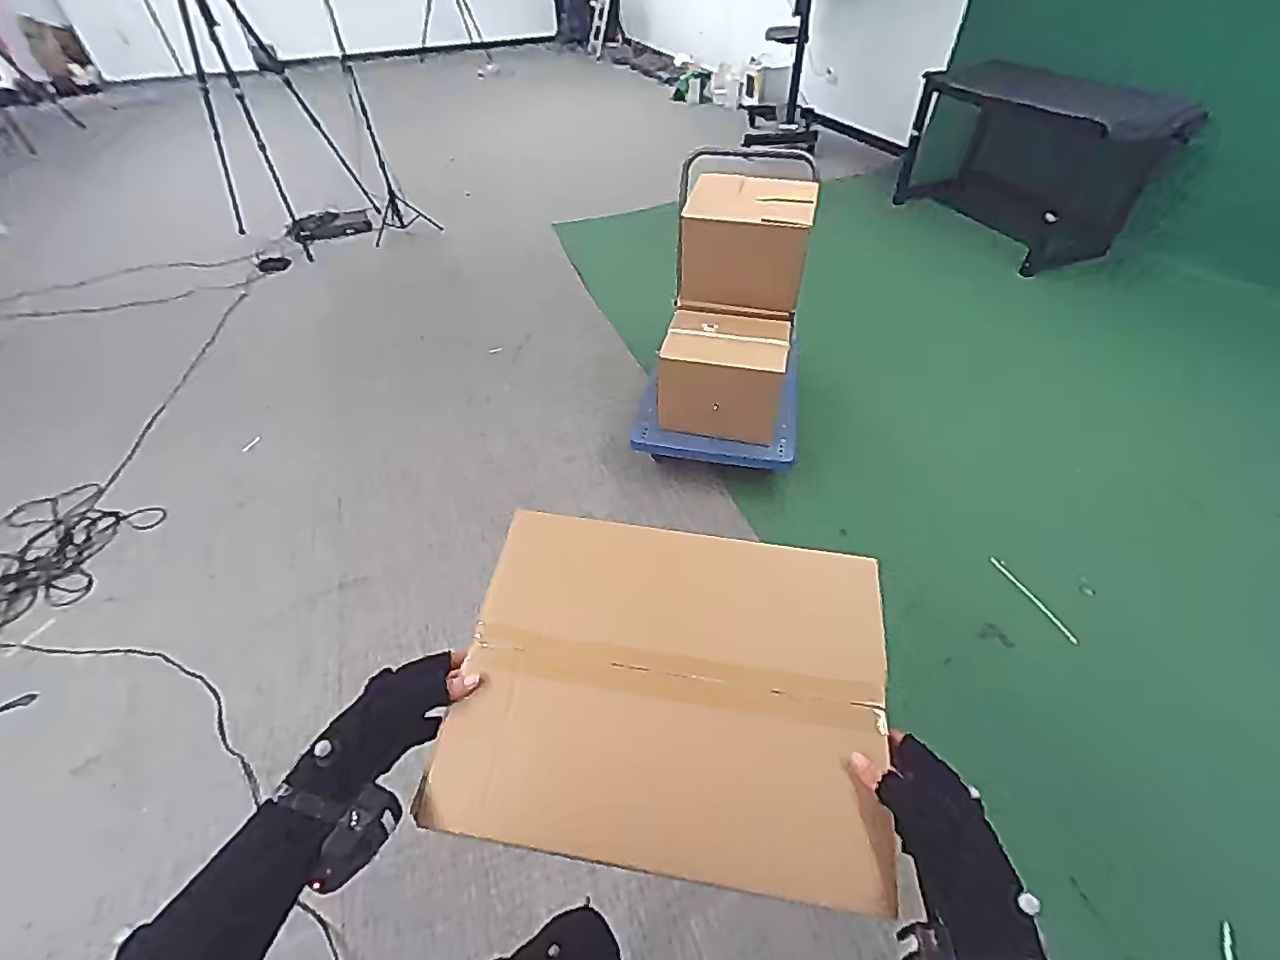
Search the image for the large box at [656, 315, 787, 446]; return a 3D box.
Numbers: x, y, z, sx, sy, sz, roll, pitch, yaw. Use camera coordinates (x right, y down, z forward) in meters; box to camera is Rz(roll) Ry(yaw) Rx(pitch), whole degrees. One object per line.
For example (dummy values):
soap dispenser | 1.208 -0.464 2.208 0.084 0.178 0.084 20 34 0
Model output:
large box | 0.285 -0.349 1.896 0.408 0.320 0.320 9 47 12
